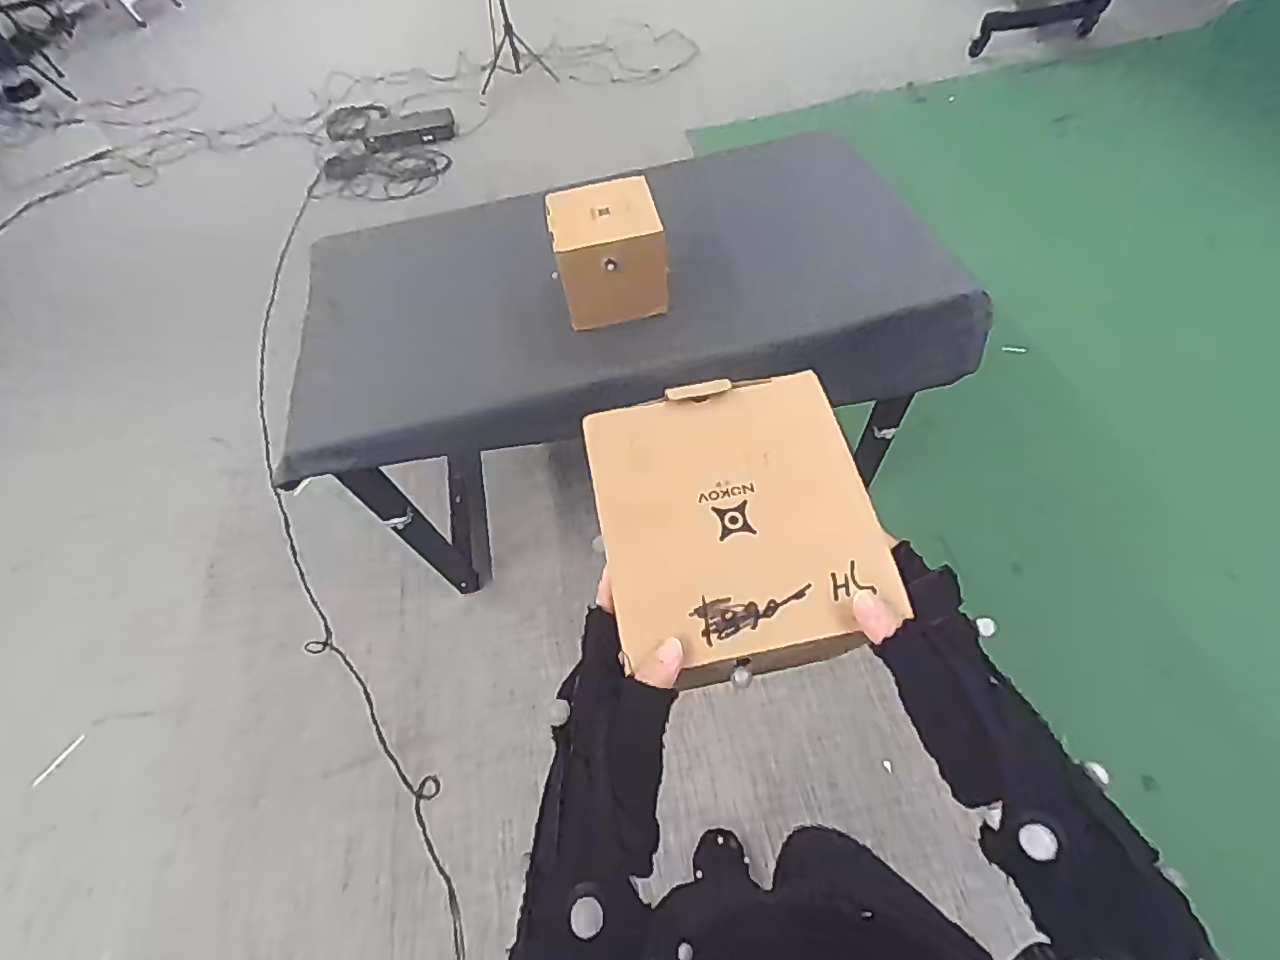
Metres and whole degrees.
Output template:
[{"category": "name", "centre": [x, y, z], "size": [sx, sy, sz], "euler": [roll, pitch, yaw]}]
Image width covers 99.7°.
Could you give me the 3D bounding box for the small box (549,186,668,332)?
[{"category": "small box", "centre": [-0.053, -0.386, 0.964], "size": [0.179, 0.176, 0.168], "euler": [-12, 58, -2]}]

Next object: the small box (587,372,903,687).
[{"category": "small box", "centre": [0.061, 0.048, 0.421], "size": [0.168, 0.176, 0.179], "euler": [-13, 65, -3]}]
